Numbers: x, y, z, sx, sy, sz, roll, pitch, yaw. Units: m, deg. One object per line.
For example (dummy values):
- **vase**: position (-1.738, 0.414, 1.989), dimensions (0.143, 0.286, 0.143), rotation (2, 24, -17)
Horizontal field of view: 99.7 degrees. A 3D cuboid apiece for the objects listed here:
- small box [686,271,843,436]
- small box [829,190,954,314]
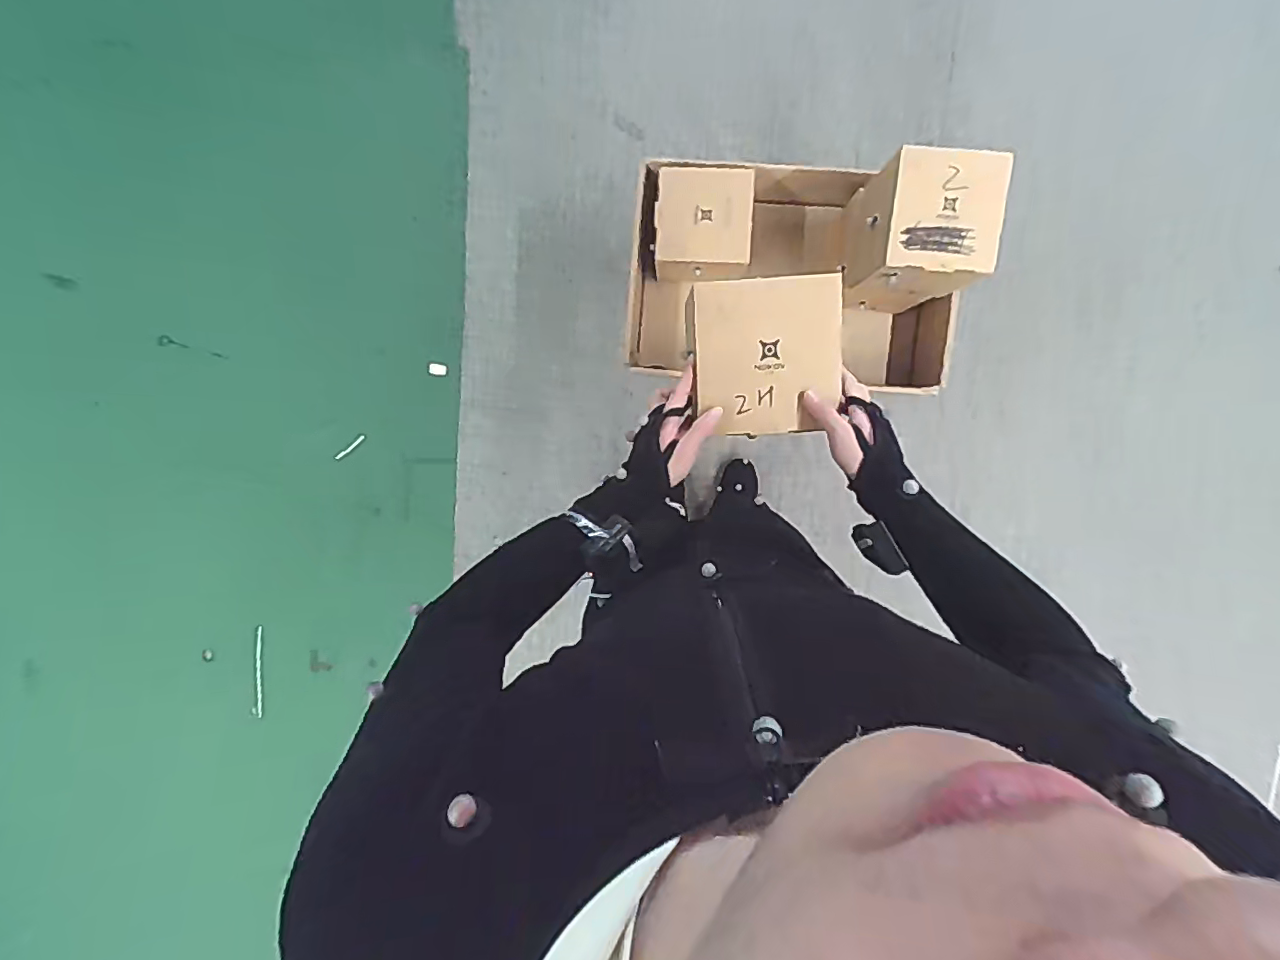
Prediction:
- **small box**: position (0.146, -0.152, 0.684), dimensions (0.168, 0.176, 0.179), rotation (-3, 100, 3)
- **small box**: position (0.473, -0.433, 1.051), dimensions (0.168, 0.176, 0.179), rotation (6, 97, 2)
